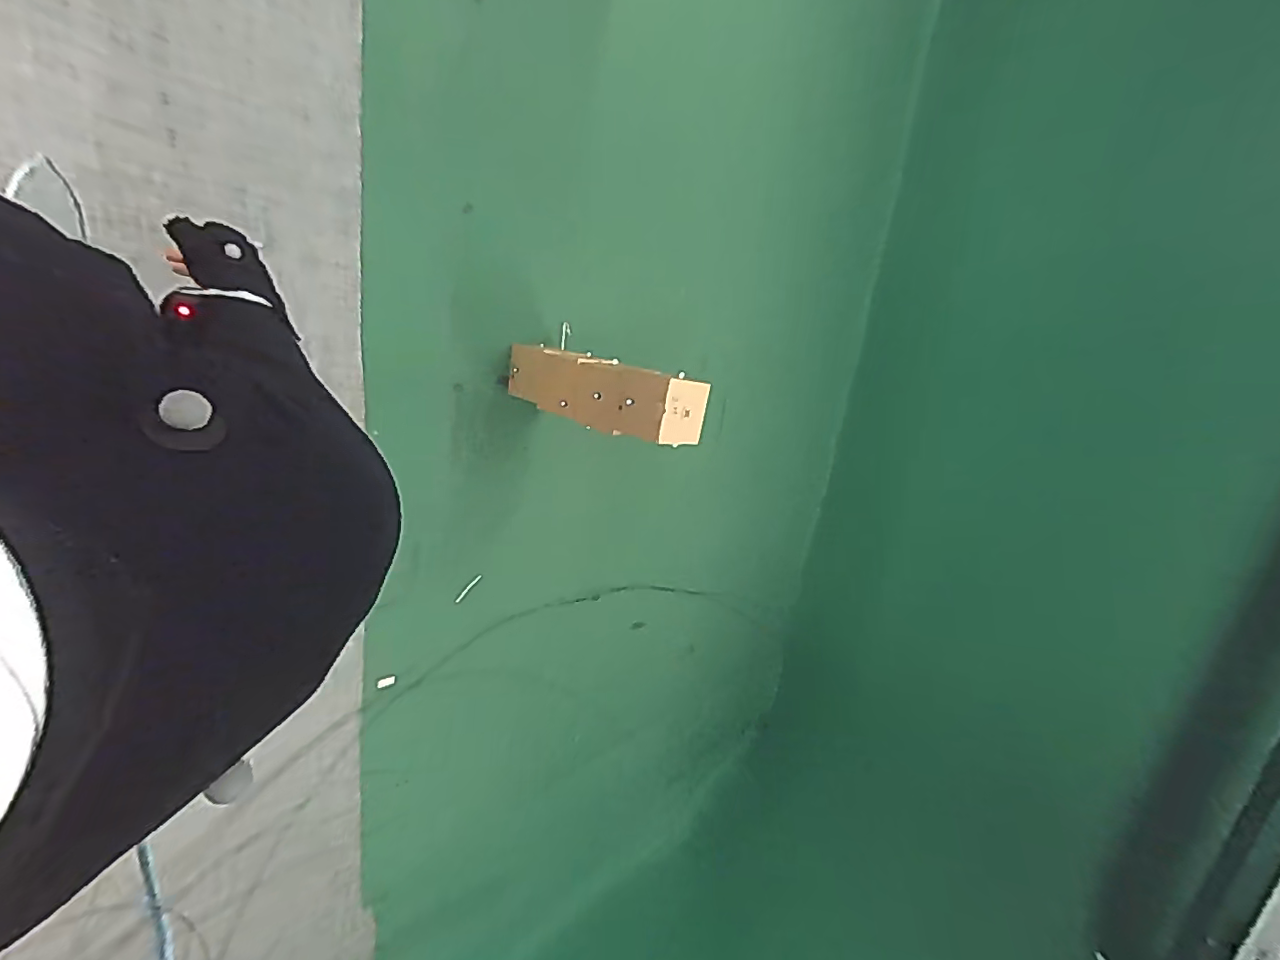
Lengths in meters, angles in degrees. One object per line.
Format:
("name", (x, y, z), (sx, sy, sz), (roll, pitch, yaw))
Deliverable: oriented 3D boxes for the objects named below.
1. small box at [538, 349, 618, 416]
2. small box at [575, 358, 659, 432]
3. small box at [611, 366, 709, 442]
("small box", (-0.192, -0.296, 1.632), (0.168, 0.176, 0.179), (-8, 113, -46))
("small box", (-0.069, -0.242, 1.536), (0.168, 0.176, 0.179), (-10, 114, -46))
("small box", (0.052, -0.201, 1.431), (0.179, 0.176, 0.168), (-3, 109, -48))
